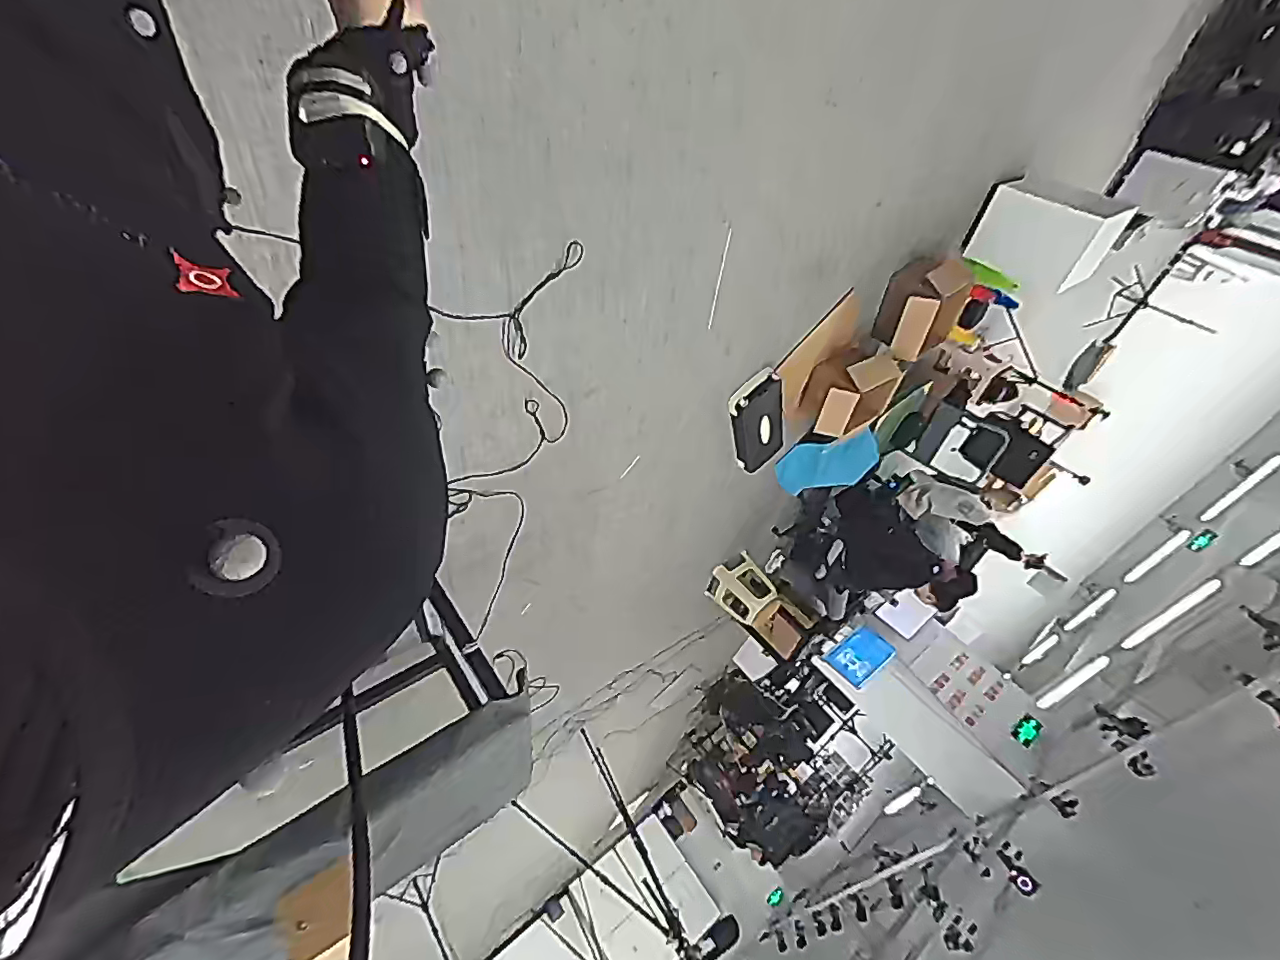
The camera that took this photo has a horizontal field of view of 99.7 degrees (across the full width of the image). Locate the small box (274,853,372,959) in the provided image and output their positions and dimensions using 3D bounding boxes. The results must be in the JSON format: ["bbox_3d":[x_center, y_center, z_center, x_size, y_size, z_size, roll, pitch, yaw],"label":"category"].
[{"bbox_3d":[-0.798,1.094,1.360,0.179,0.176,0.168,-19,142,-38],"label":"small box"}]
